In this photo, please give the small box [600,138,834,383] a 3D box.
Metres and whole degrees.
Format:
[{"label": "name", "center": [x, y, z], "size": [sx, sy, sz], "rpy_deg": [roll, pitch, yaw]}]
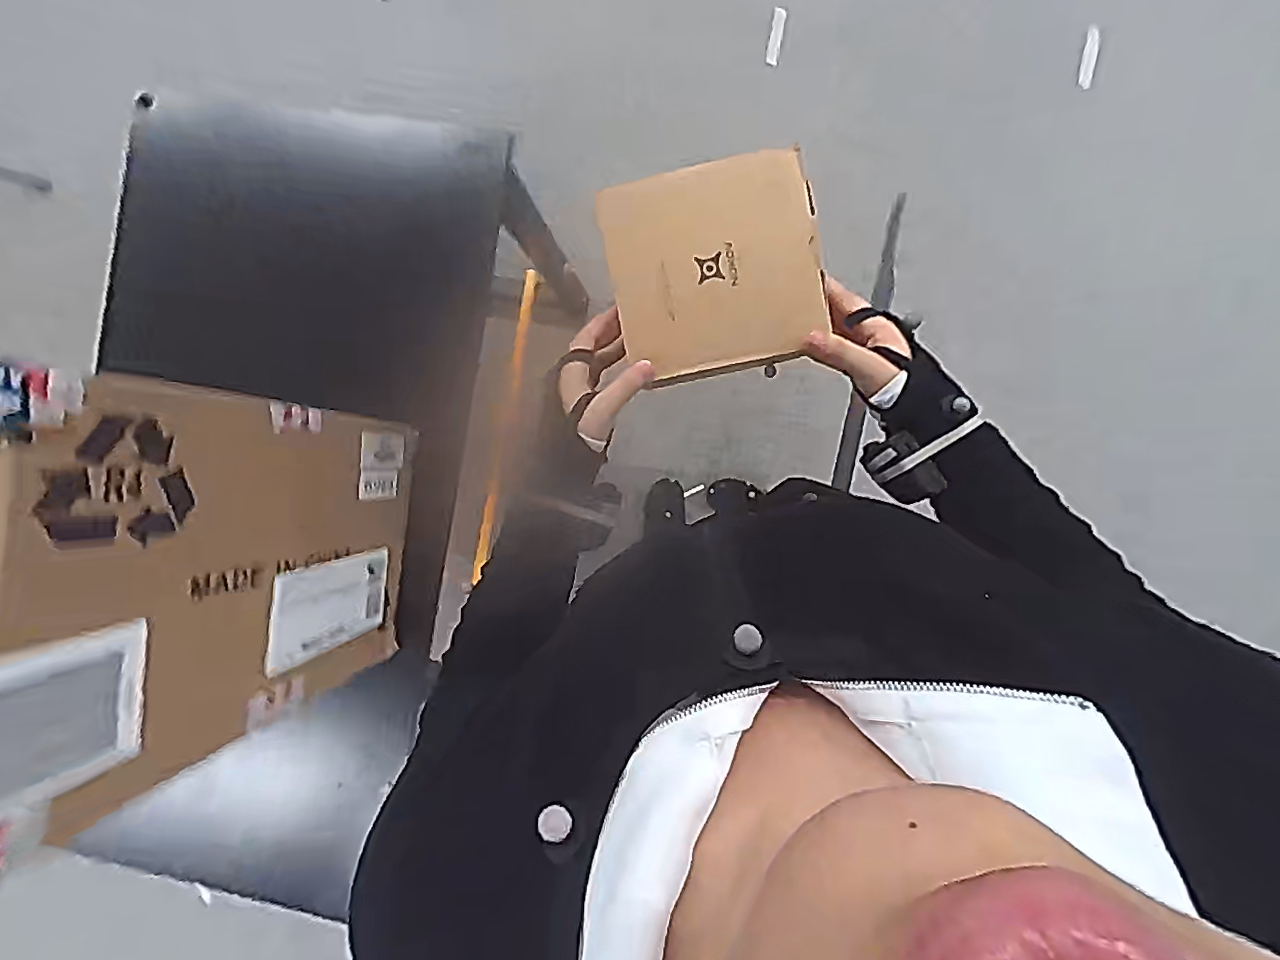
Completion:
[{"label": "small box", "center": [0.071, -0.194, 0.533], "size": [0.179, 0.176, 0.168], "rpy_deg": [-11, 96, 7]}]
